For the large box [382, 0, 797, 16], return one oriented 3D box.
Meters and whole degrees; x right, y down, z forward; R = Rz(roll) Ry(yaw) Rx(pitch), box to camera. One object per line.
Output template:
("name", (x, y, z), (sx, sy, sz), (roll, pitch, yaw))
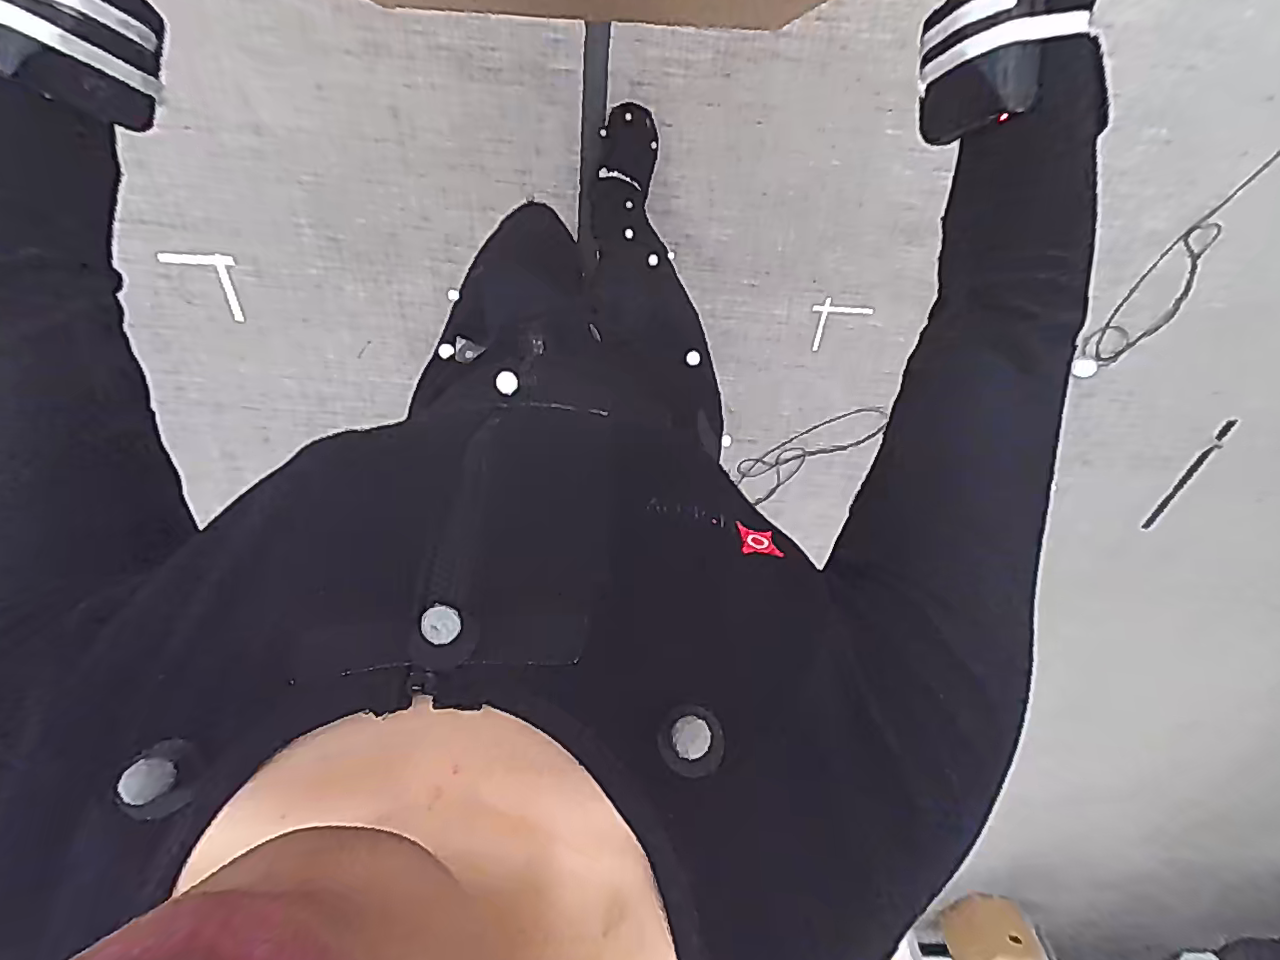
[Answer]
("large box", (-0.044, -0.517, 0.337), (0.408, 0.320, 0.320), (0, 124, -3))
